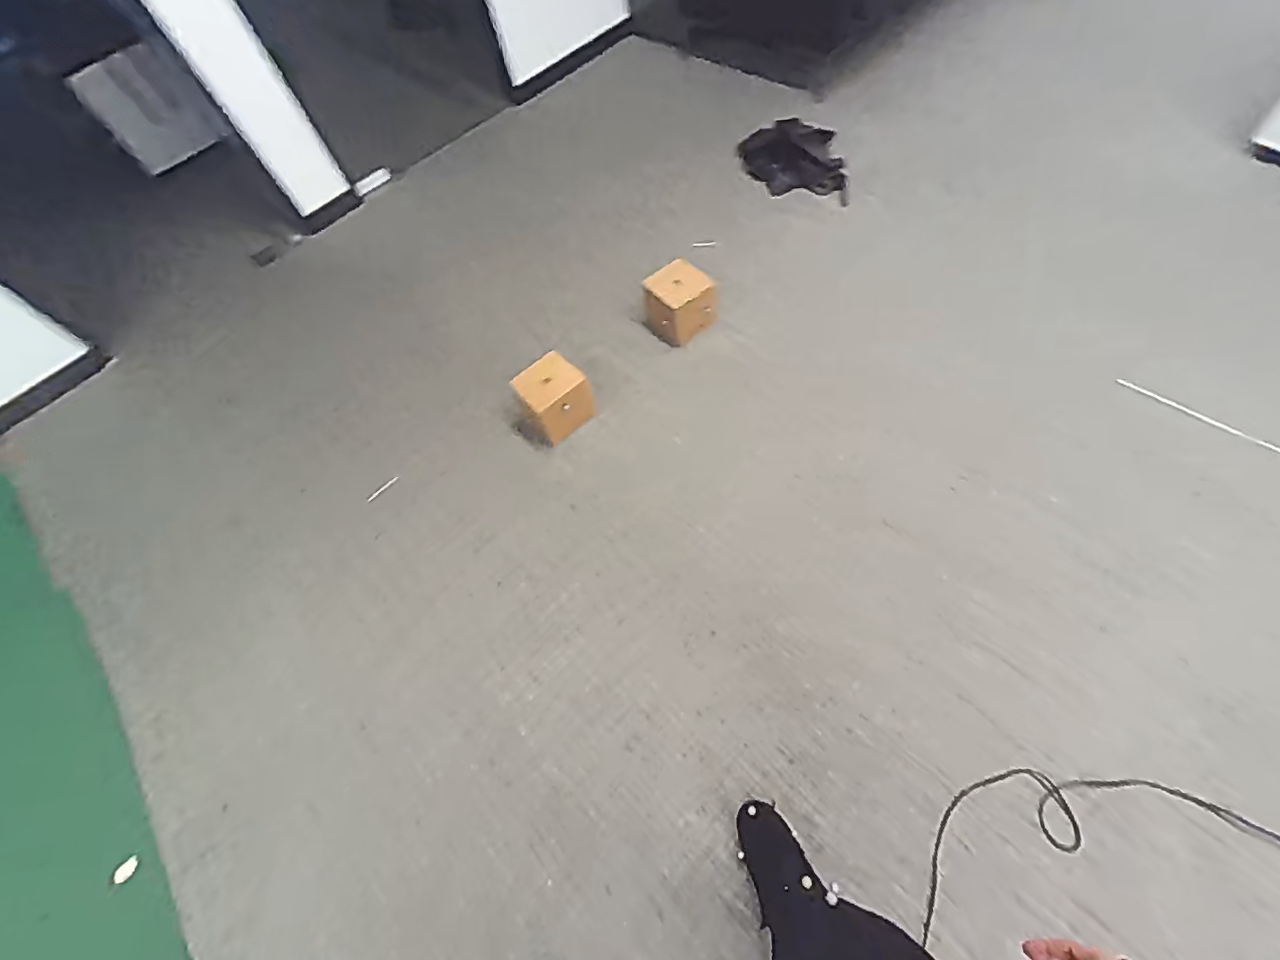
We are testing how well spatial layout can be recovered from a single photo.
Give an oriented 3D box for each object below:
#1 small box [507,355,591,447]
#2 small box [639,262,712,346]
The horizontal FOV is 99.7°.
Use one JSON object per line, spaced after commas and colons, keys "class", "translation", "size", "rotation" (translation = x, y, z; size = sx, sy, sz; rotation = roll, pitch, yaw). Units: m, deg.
{"class": "small box", "translation": [-0.265, -0.237, 1.635], "size": [0.179, 0.176, 0.168], "rotation": [-41, 62, -14]}
{"class": "small box", "translation": [0.122, -0.566, 1.762], "size": [0.168, 0.176, 0.179], "rotation": [-37, 60, -14]}
